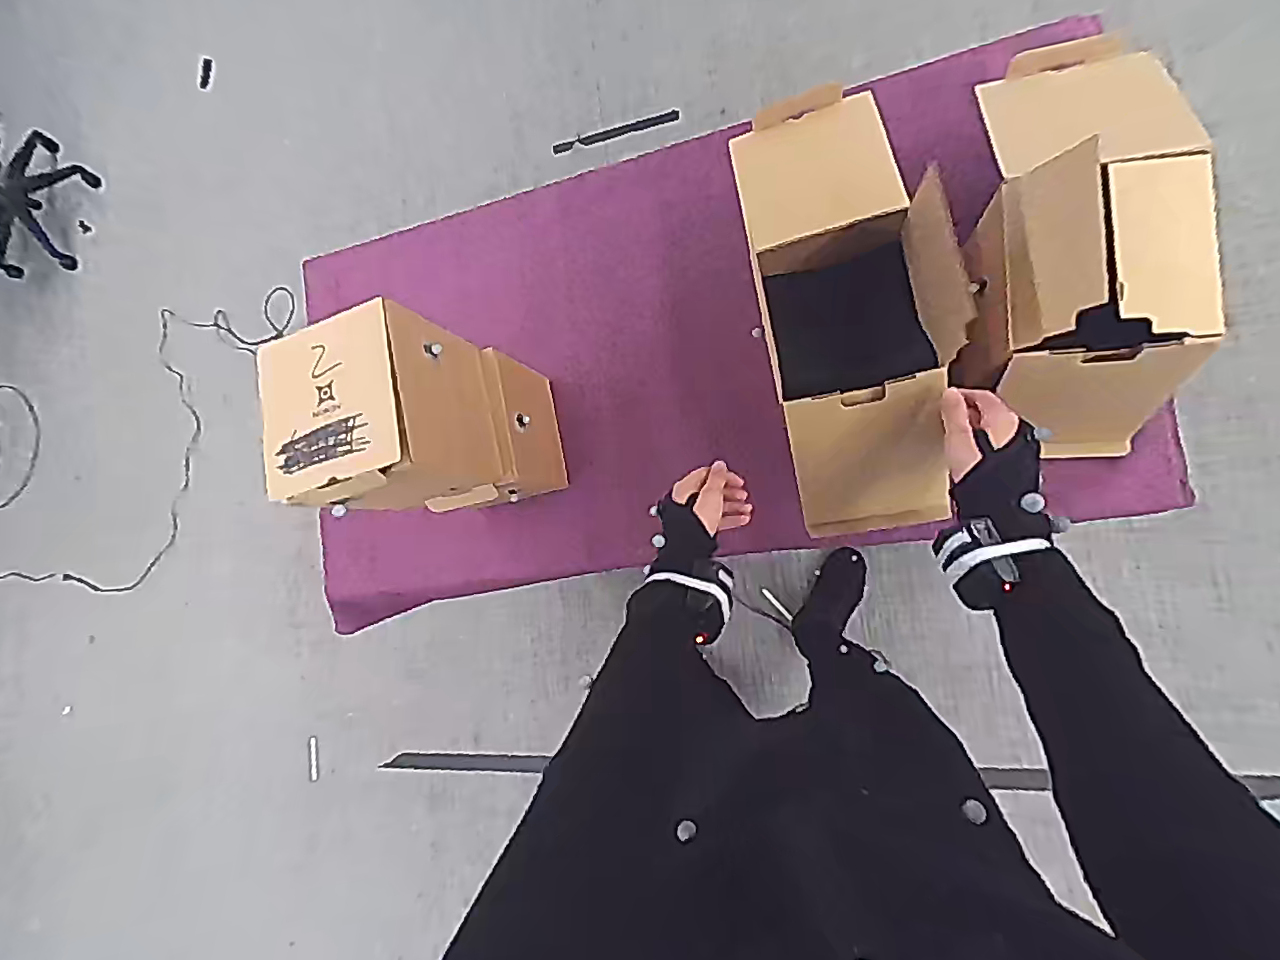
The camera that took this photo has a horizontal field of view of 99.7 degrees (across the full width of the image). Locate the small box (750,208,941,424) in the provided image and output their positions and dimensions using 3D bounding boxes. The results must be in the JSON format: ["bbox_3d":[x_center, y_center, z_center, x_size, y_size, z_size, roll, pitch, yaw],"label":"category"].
[{"bbox_3d":[0.232,-0.177,0.641,0.168,0.176,0.179,-11,84,17],"label":"small box"}]

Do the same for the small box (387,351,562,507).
[{"bbox_3d":[-0.226,-0.061,0.771,0.168,0.176,0.179,-12,83,15],"label":"small box"}]
